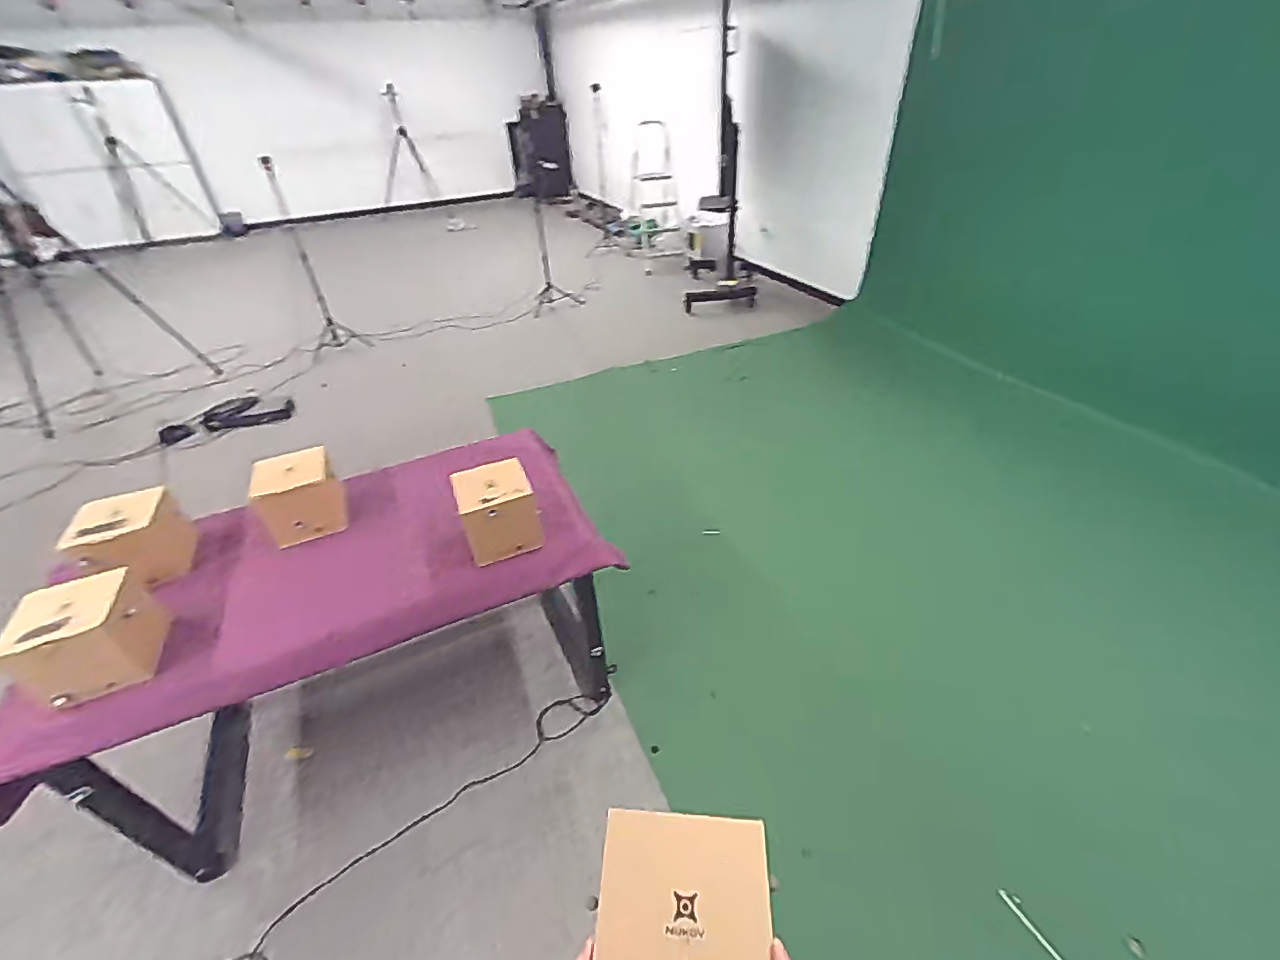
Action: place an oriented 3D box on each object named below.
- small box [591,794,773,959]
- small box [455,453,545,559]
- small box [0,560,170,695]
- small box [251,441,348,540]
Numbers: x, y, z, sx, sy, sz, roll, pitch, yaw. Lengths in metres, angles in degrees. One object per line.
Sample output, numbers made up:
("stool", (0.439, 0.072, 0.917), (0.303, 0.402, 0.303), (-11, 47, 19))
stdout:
("small box", (0.039, 0.457, 0.564), (0.168, 0.176, 0.179), (3, 43, 3))
("small box", (-0.342, 0.062, 1.325), (0.168, 0.176, 0.179), (-18, 37, -16))
("small box", (-1.082, 0.297, 1.070), (0.168, 0.176, 0.179), (-17, 39, -19))
("small box", (-0.881, 0.026, 1.415), (0.168, 0.176, 0.179), (-17, 41, -19))
